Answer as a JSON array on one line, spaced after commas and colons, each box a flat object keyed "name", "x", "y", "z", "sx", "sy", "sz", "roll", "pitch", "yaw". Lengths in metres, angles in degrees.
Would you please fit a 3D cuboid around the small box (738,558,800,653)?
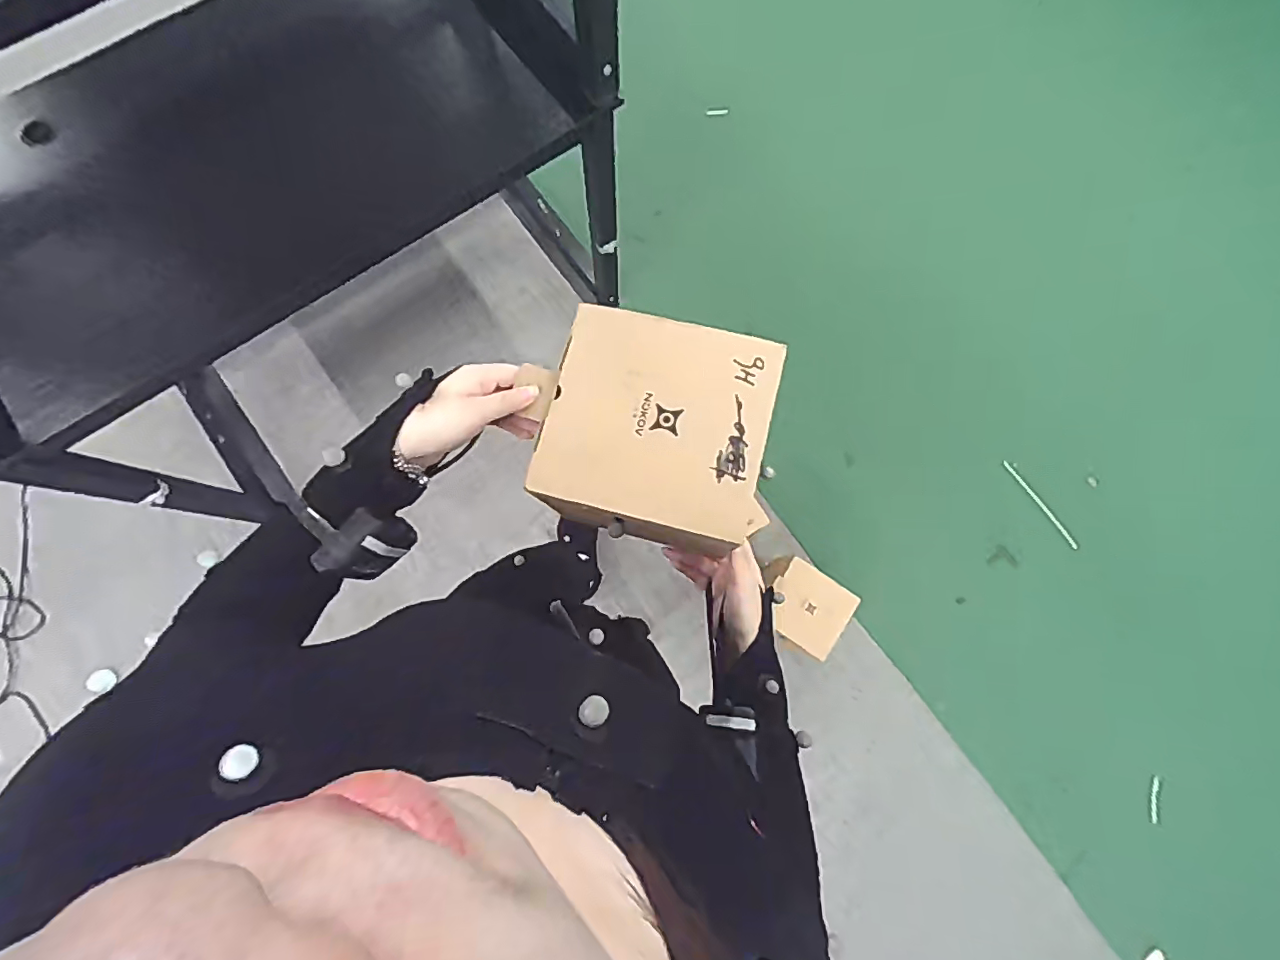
[{"name": "small box", "x": 0.381, "y": 0.327, "z": 1.421, "sx": 0.168, "sy": 0.176, "sz": 0.179, "roll": -42, "pitch": 84, "yaw": -8}]

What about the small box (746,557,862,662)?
[{"name": "small box", "x": 0.371, "y": 0.297, "z": 1.261, "sx": 0.179, "sy": 0.176, "sz": 0.168, "roll": 34, "pitch": 82, "yaw": 4}]
